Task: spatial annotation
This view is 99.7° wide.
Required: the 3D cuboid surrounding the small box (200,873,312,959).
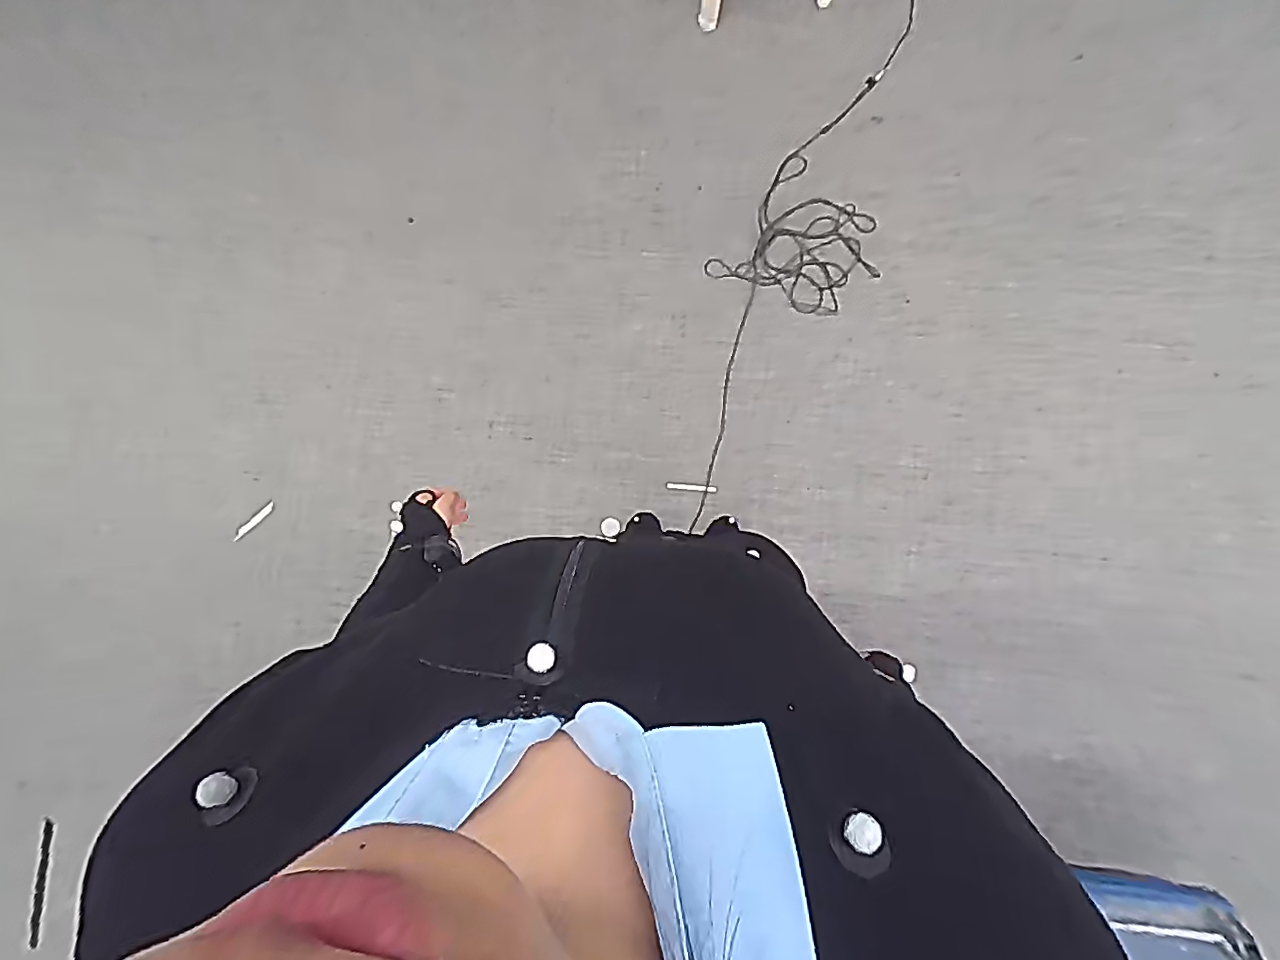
[{"bbox_3d":[-1.024,1.193,1.447,0.179,0.176,0.168,2,85,5],"label":"small box"}]
